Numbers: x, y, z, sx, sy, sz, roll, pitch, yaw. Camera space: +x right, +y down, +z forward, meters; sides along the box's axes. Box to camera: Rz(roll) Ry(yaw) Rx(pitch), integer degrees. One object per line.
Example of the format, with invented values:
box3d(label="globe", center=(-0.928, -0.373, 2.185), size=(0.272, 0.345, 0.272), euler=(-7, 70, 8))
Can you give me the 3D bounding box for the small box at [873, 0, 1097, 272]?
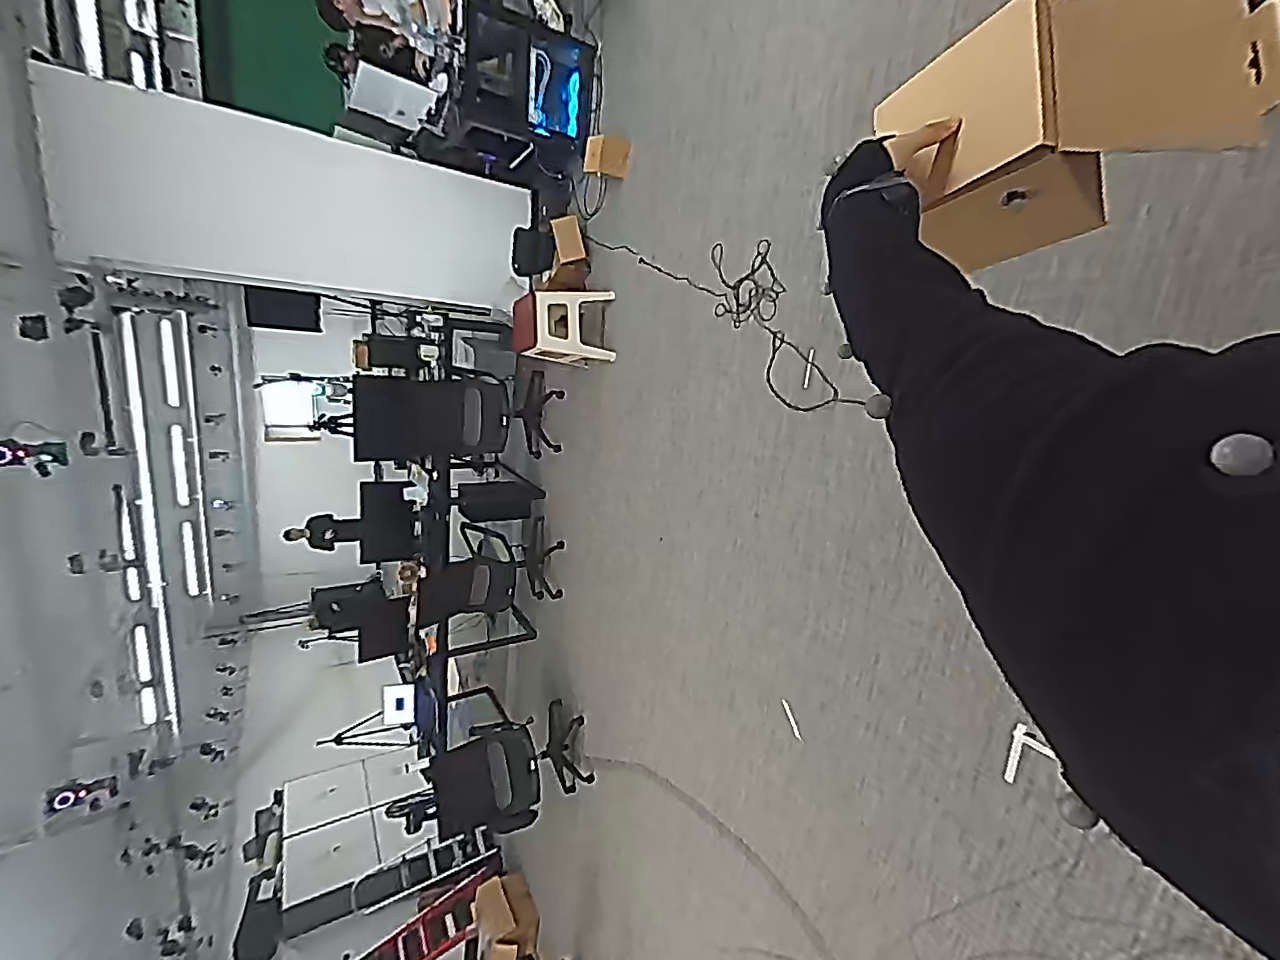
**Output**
box3d(label="small box", center=(0.389, -0.366, 0.612), size=(0.179, 0.176, 0.168), euler=(-7, 78, 53))
